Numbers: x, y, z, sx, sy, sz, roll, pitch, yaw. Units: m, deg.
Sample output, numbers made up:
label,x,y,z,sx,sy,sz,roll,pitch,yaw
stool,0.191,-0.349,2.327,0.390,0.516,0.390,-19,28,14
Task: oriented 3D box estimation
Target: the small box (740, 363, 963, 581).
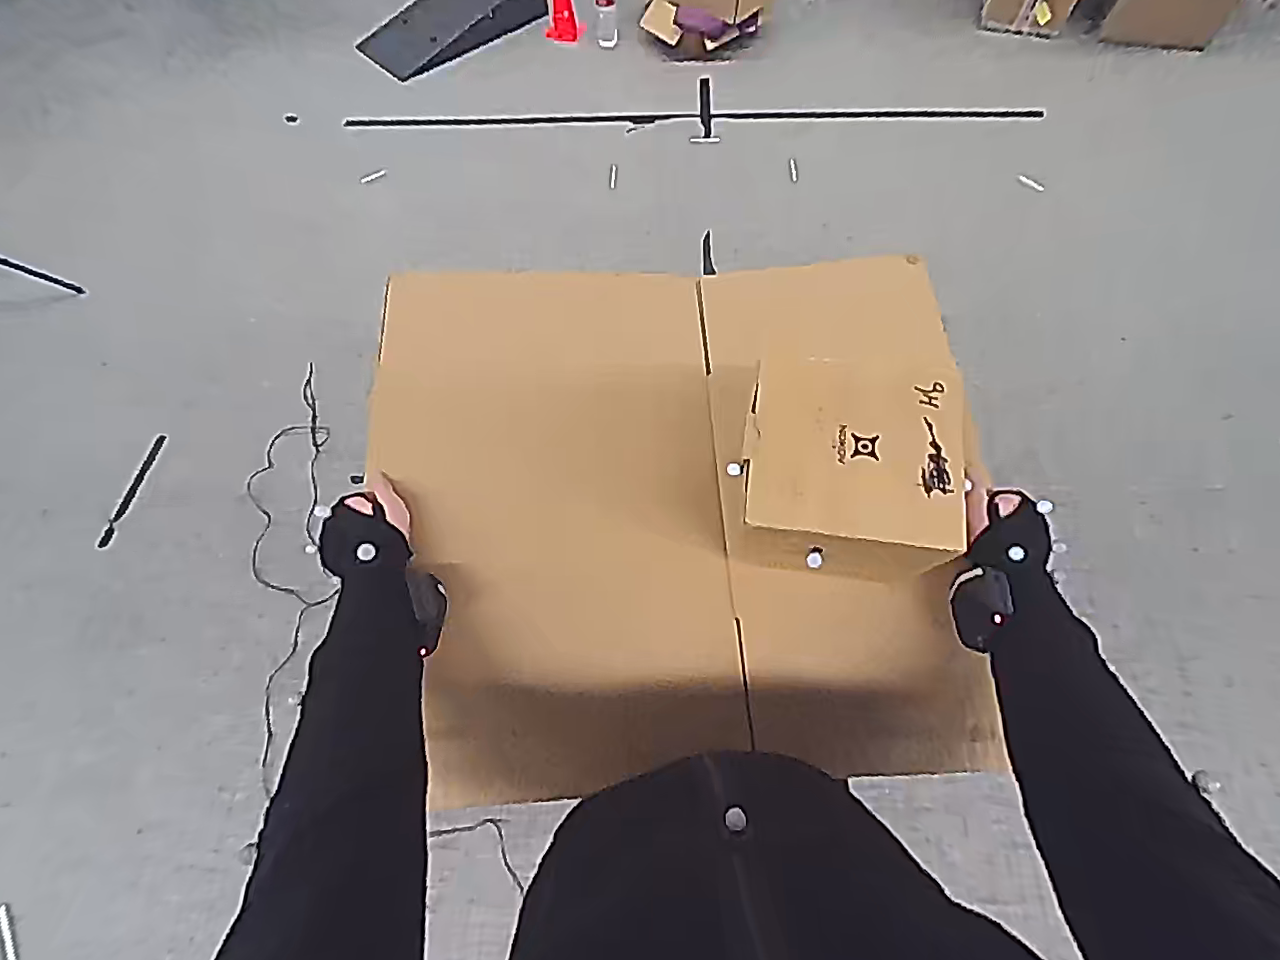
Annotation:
label,x,y,z,sx,sy,sz,roll,pitch,yaw
small box,0.197,0.001,0.545,0.179,0.176,0.168,6,71,10
